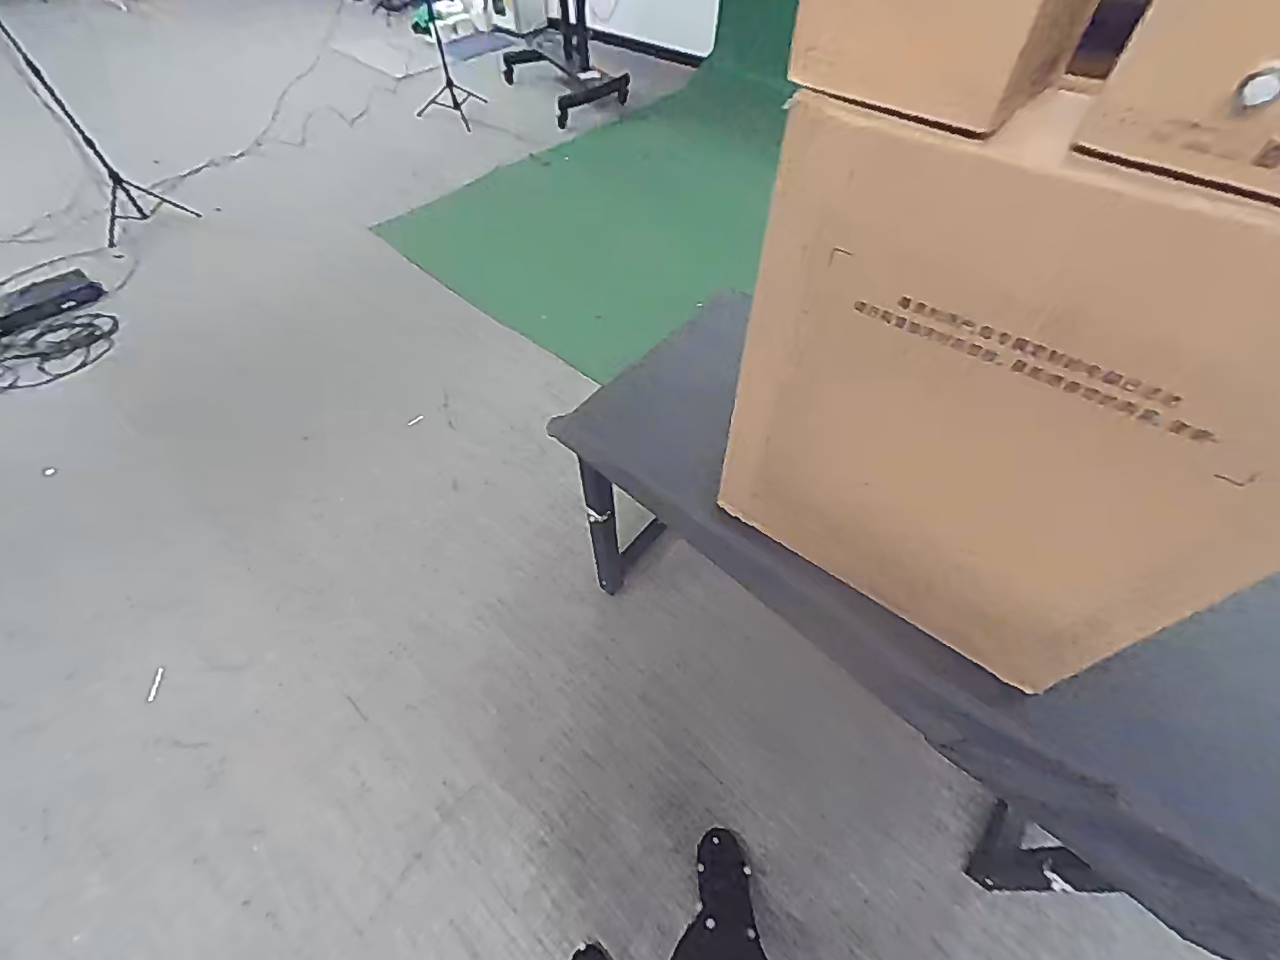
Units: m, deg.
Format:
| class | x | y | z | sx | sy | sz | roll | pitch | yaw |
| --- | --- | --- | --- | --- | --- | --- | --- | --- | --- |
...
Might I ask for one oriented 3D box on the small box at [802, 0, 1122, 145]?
| class | x | y | z | sx | sy | sz | roll | pitch | yaw |
| --- | --- | --- | --- | --- | --- | --- | --- | --- | --- |
| small box | 0.245 | -0.378 | 0.395 | 0.168 | 0.176 | 0.179 | -39 | 62 | -21 |
